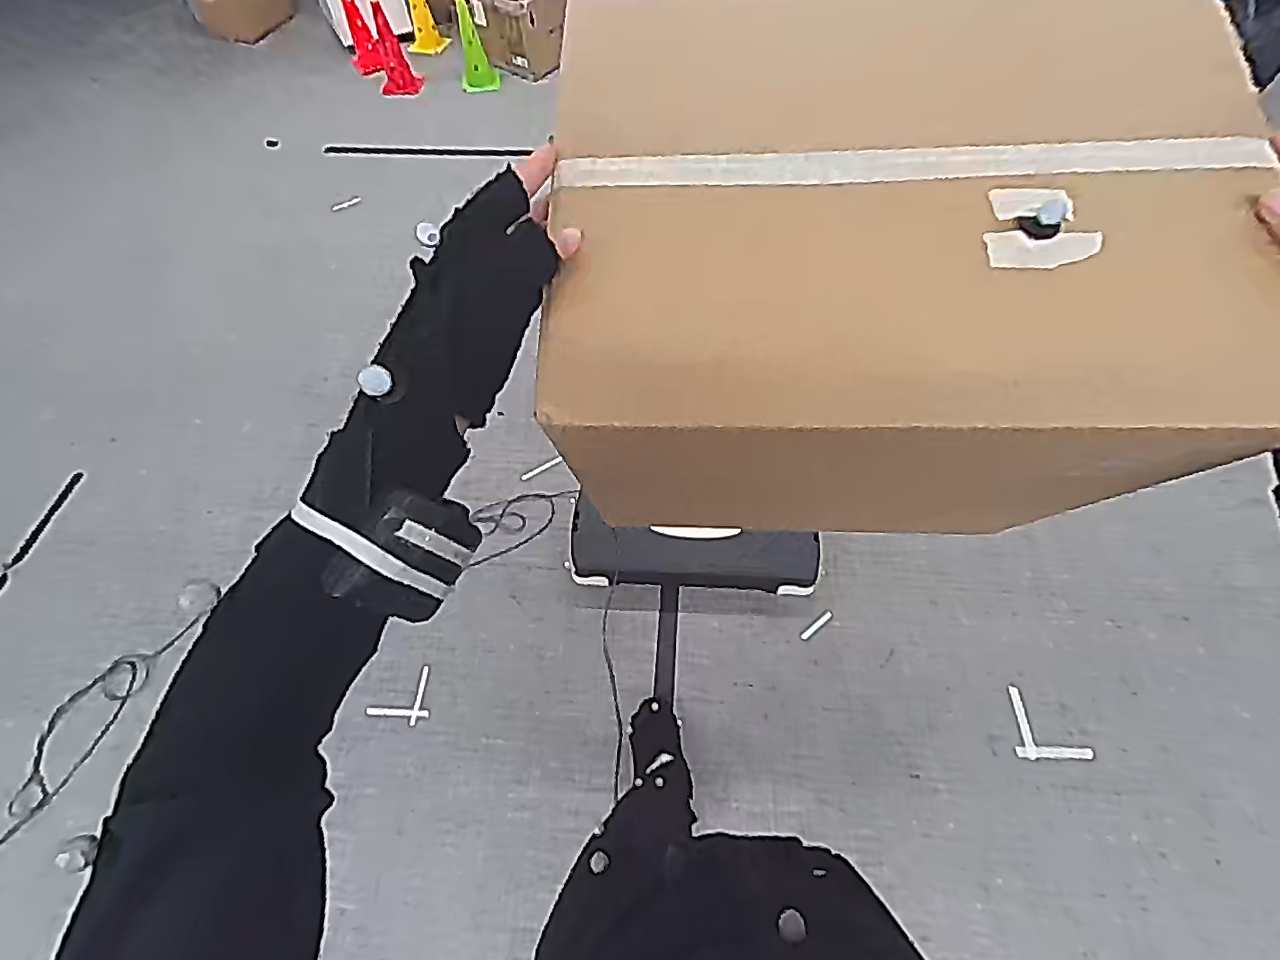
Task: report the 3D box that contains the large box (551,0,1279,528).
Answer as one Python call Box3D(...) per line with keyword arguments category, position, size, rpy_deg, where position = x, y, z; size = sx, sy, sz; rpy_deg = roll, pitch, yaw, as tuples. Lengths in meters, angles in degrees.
Box3D(category="large box", position=(0.152, -0.138, 0.475), size=(0.408, 0.320, 0.320), rpy_deg=(0, 75, 3))
